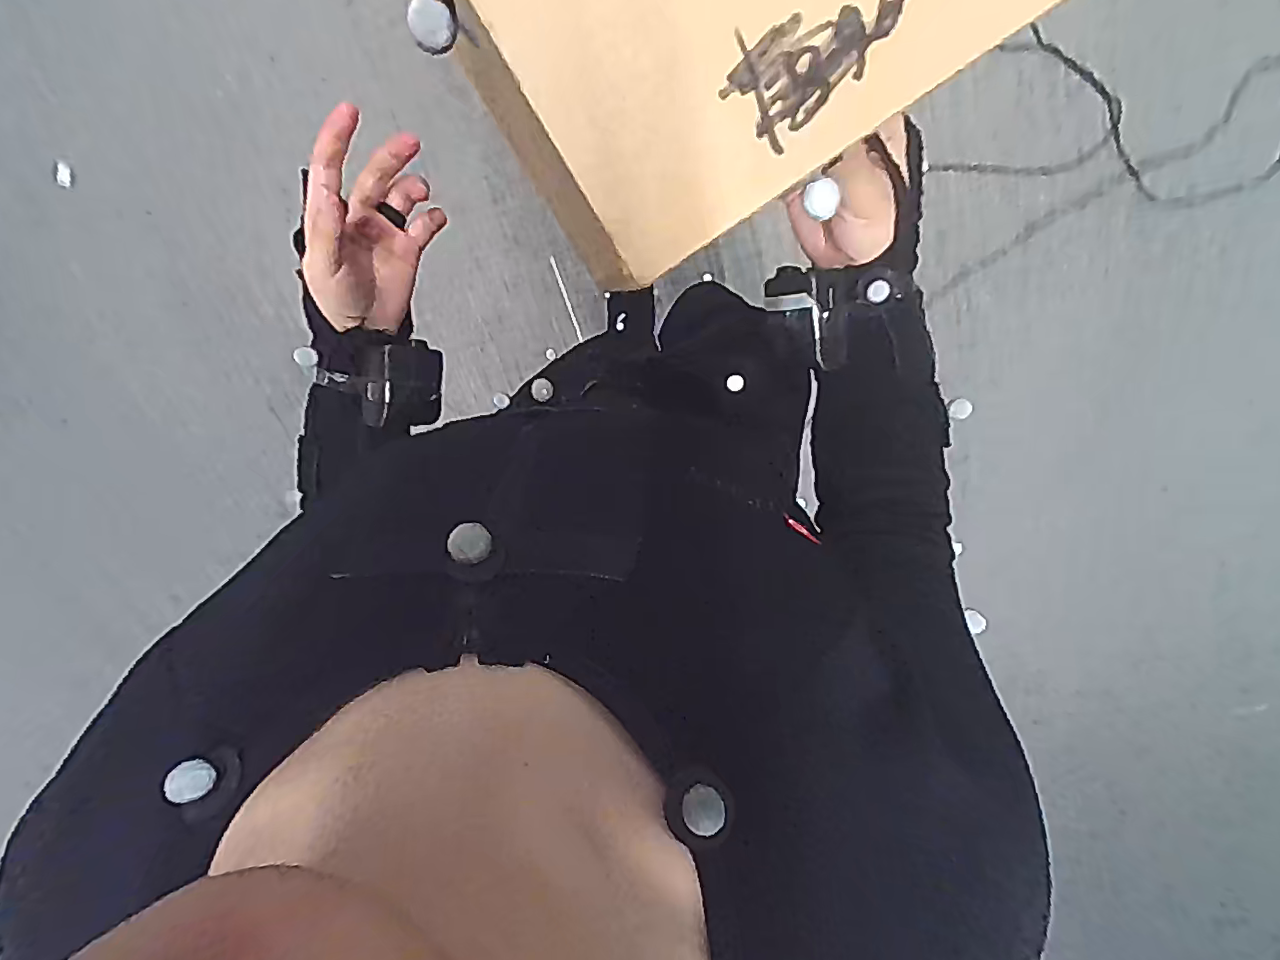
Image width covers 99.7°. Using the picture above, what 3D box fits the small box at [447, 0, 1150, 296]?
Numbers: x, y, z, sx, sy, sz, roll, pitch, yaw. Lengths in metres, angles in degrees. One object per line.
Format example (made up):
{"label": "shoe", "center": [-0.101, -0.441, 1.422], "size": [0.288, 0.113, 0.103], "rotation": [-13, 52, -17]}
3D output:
{"label": "small box", "center": [0.025, -0.186, 0.203], "size": [0.168, 0.176, 0.179], "rotation": [-32, 109, 5]}
